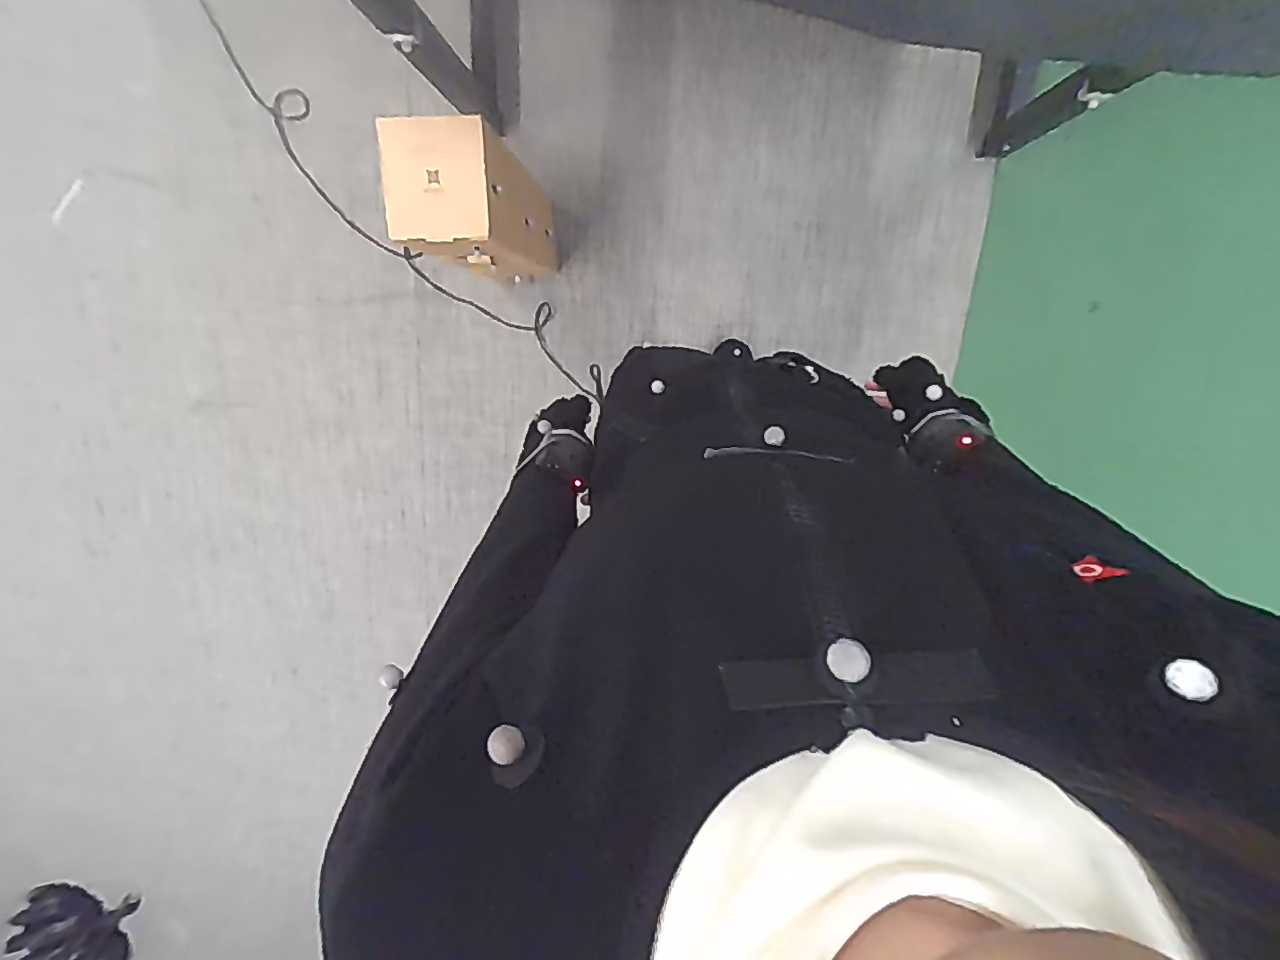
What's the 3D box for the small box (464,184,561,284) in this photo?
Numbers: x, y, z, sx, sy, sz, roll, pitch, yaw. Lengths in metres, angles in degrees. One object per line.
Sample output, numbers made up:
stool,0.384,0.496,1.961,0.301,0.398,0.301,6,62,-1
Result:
small box,-0.284,-0.554,1.236,0.168,0.176,0.179,-3,105,5
